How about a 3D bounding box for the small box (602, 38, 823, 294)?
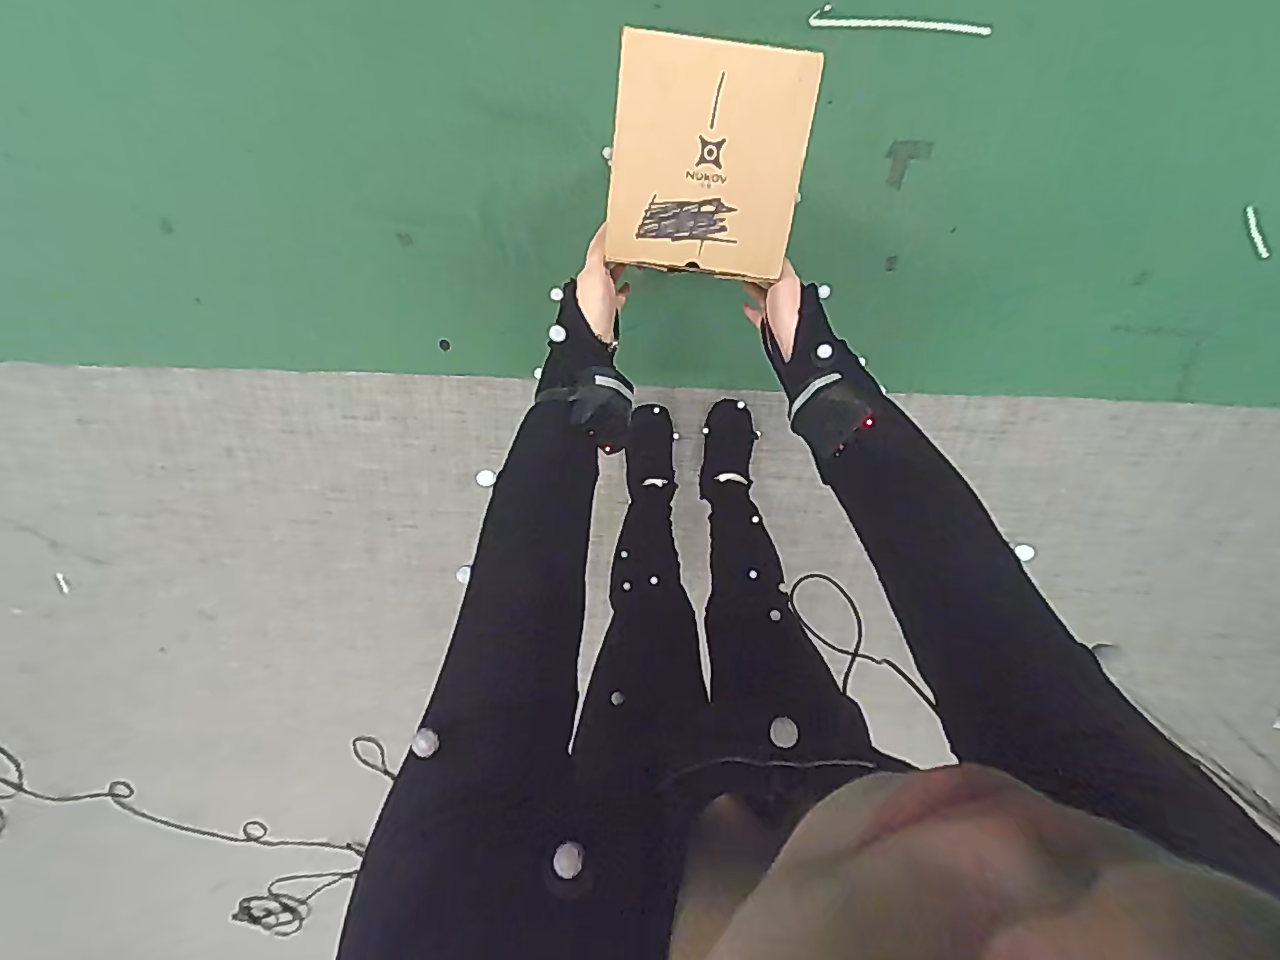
[{"bbox_3d":[0.059,-0.292,0.537,0.168,0.176,0.179,7,112,-1],"label":"small box"}]
